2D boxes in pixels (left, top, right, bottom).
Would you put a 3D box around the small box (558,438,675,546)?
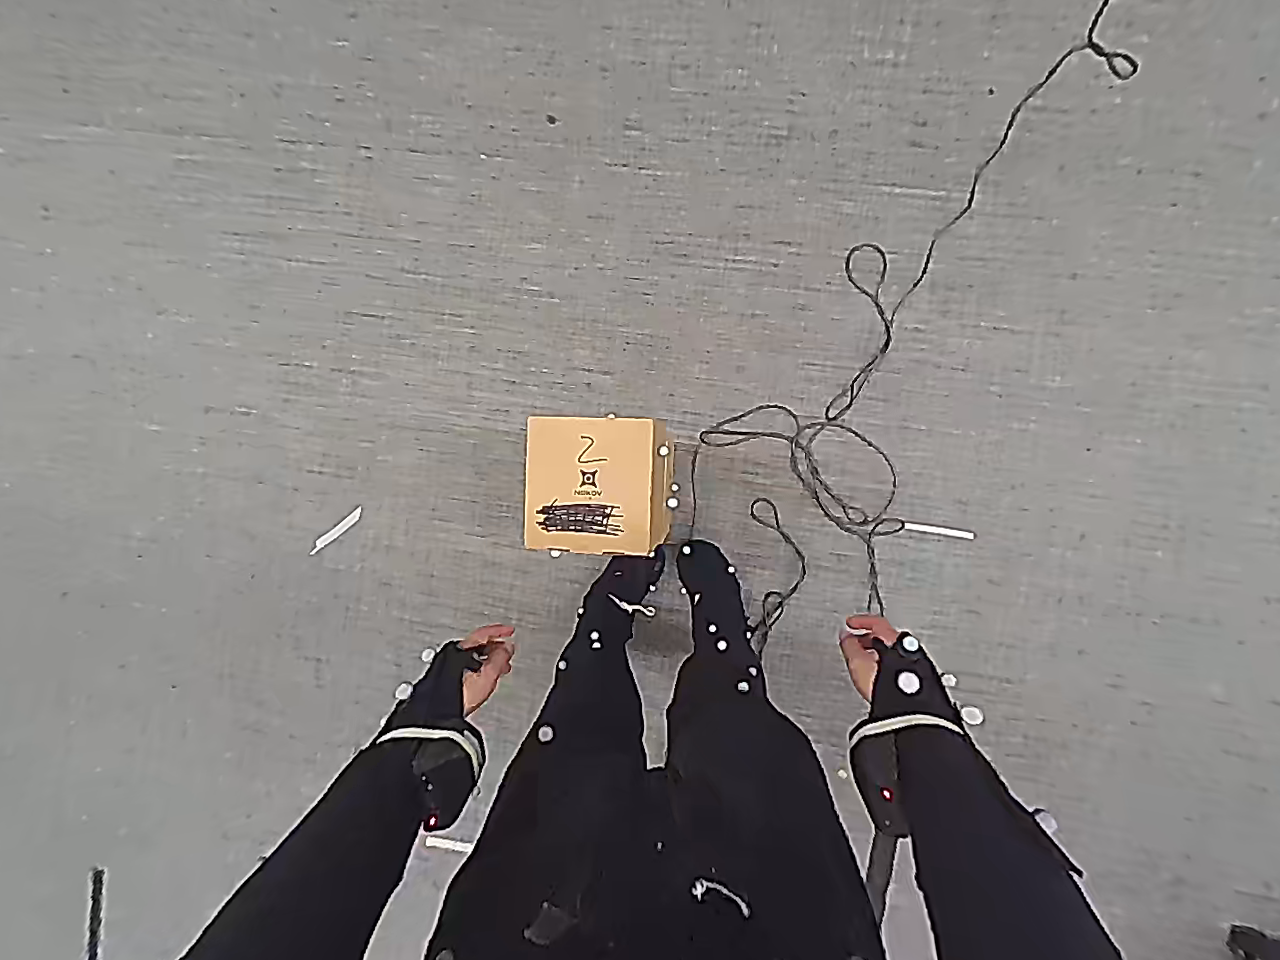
[{"bbox_3d":[-0.033,0.015,0.933,0.179,0.176,0.168,3,92,8],"label":"small box"}]
